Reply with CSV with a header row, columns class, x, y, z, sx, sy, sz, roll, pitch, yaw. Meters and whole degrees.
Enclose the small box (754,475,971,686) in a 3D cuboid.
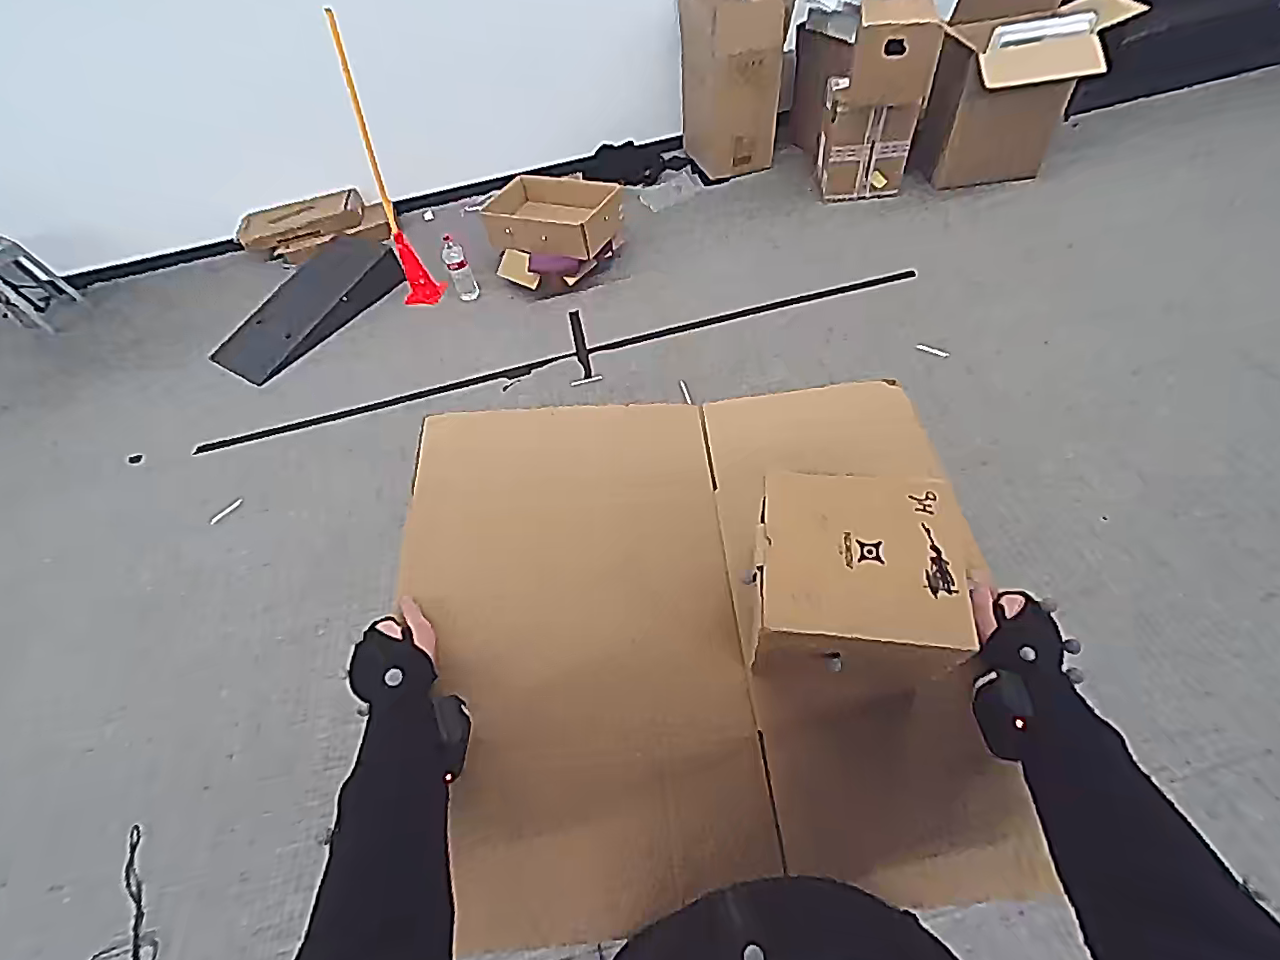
class,x,y,z,sx,sy,sz,roll,pitch,yaw
small box,0.213,0.109,0.569,0.179,0.176,0.168,2,59,11
